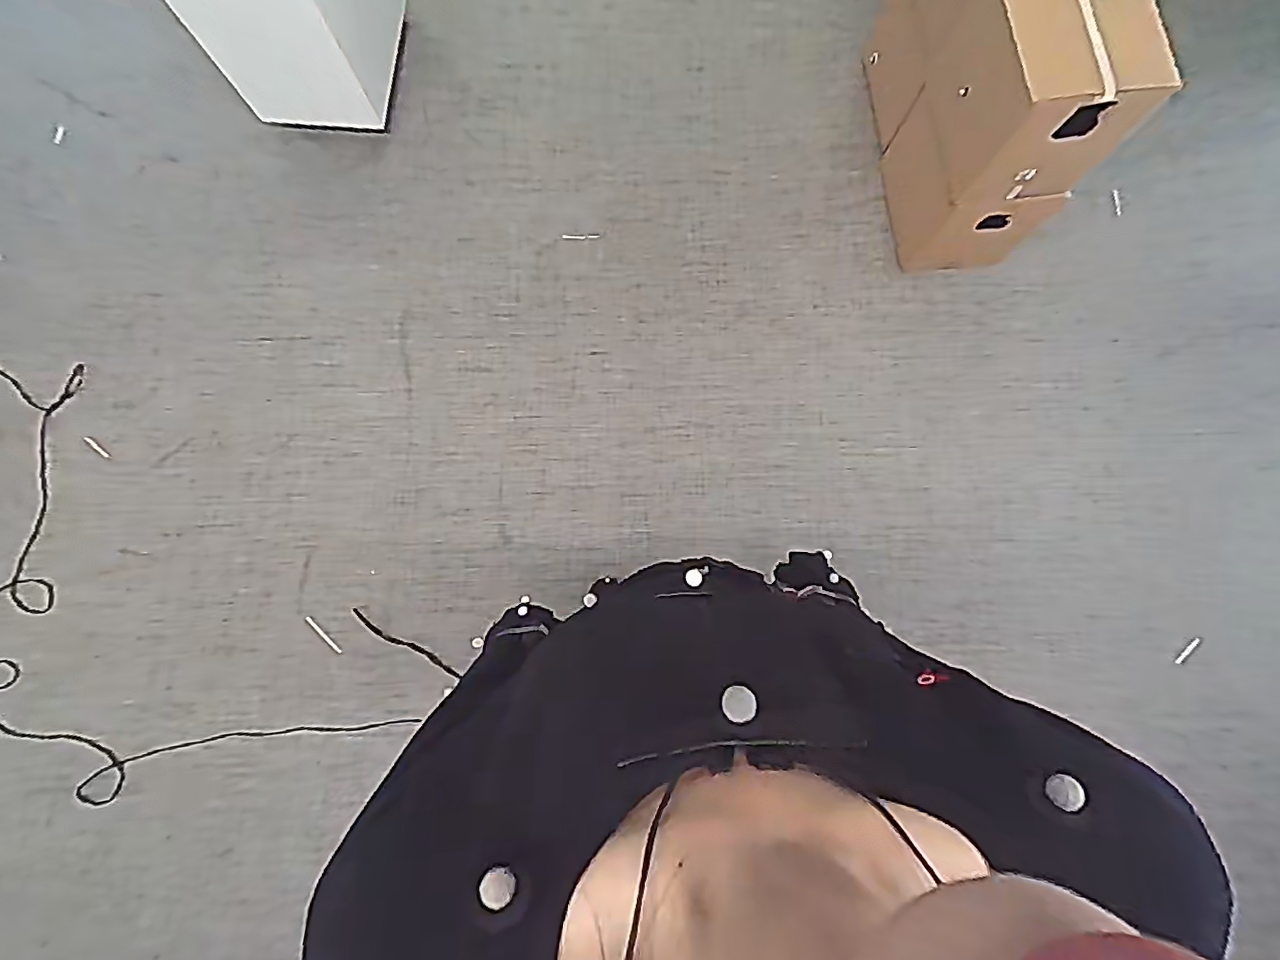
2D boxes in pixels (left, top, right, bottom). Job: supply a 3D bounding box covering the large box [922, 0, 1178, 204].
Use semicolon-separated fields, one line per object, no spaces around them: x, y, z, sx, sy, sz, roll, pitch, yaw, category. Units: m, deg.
0.932;-0.948;1.289;0.320;0.320;0.408;-6;78;0;large box
